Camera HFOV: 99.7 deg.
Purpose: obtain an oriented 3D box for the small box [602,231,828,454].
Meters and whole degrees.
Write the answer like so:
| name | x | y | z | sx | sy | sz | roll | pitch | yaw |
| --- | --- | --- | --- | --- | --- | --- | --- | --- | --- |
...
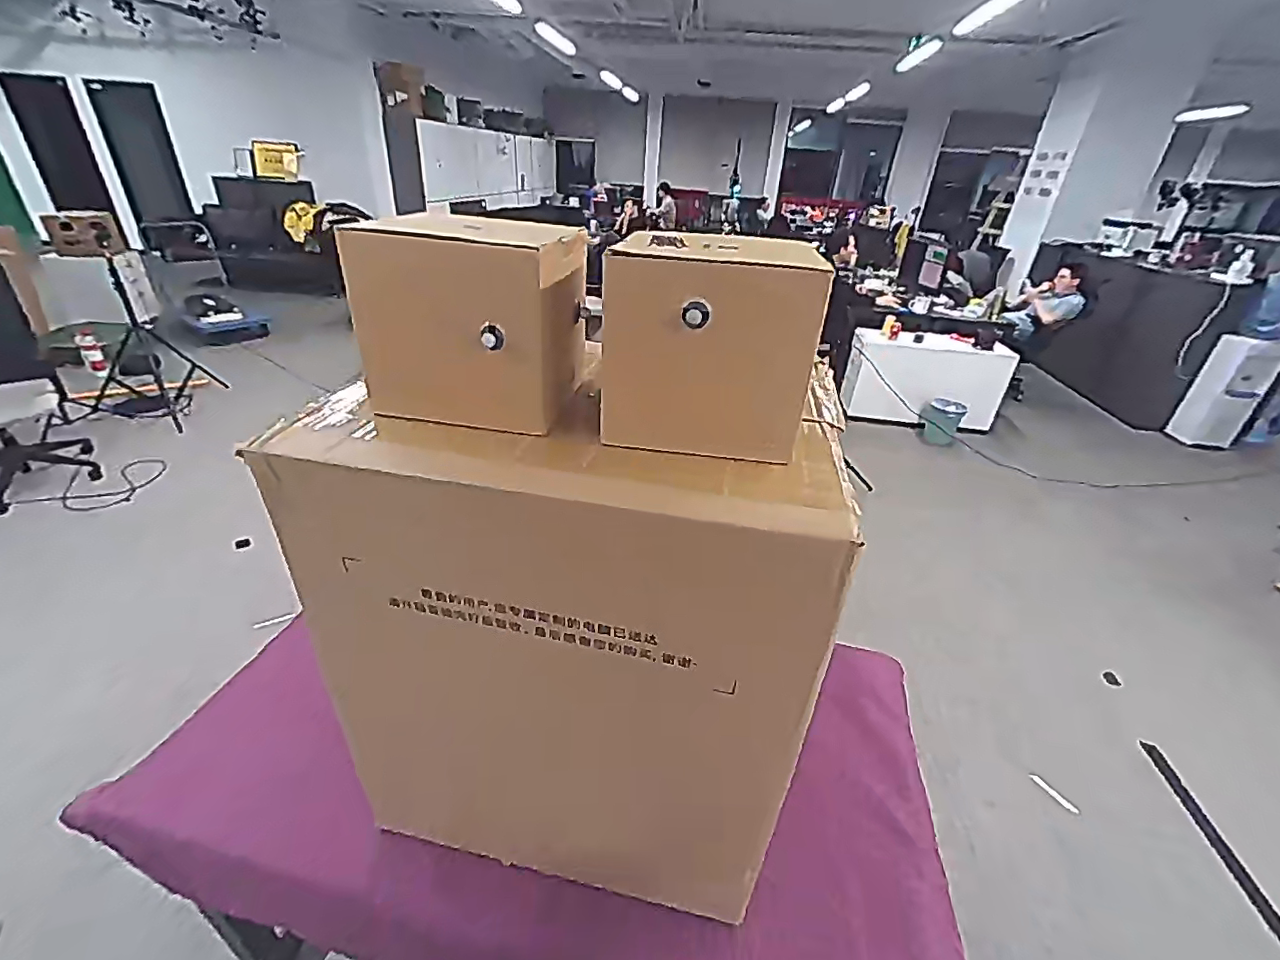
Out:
| name | x | y | z | sx | sy | sz | roll | pitch | yaw |
| --- | --- | --- | --- | --- | --- | --- | --- | --- | --- |
| small box | 0.063 | -0.136 | 0.516 | 0.179 | 0.176 | 0.168 | 7 | 30 | 5 |

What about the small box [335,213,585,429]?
| name | x | y | z | sx | sy | sz | roll | pitch | yaw |
| --- | --- | --- | --- | --- | --- | --- | --- | --- | --- |
| small box | -0.158 | -0.161 | 0.539 | 0.179 | 0.176 | 0.168 | 7 | 29 | 5 |
